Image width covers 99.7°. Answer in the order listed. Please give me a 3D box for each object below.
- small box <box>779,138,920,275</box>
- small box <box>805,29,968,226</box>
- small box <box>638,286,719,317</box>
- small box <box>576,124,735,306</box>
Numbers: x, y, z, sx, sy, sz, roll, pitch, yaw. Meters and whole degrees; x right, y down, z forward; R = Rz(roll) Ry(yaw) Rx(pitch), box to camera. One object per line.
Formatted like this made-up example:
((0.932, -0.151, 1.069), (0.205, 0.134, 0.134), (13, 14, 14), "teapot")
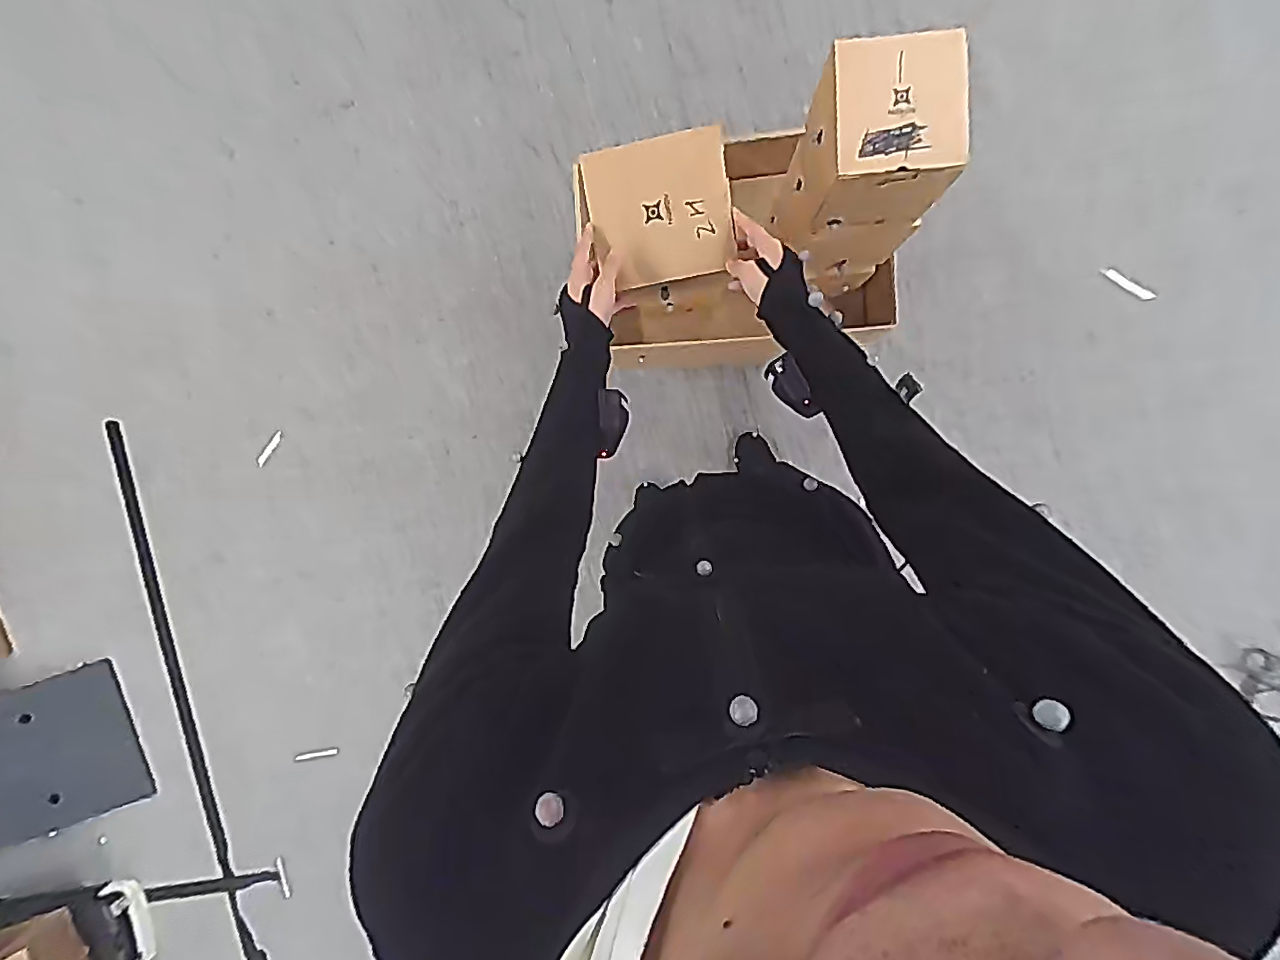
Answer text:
((0.349, -0.468, 0.927), (0.179, 0.176, 0.168), (-6, 91, 4), "small box")
((0.334, -0.477, 0.762), (0.168, 0.176, 0.179), (-2, 91, 4), "small box")
((0.072, -0.445, 1.116), (0.168, 0.176, 0.179), (-5, 91, 4), "small box")
((0.027, -0.340, 0.730), (0.179, 0.176, 0.168), (-9, 101, 6), "small box")
